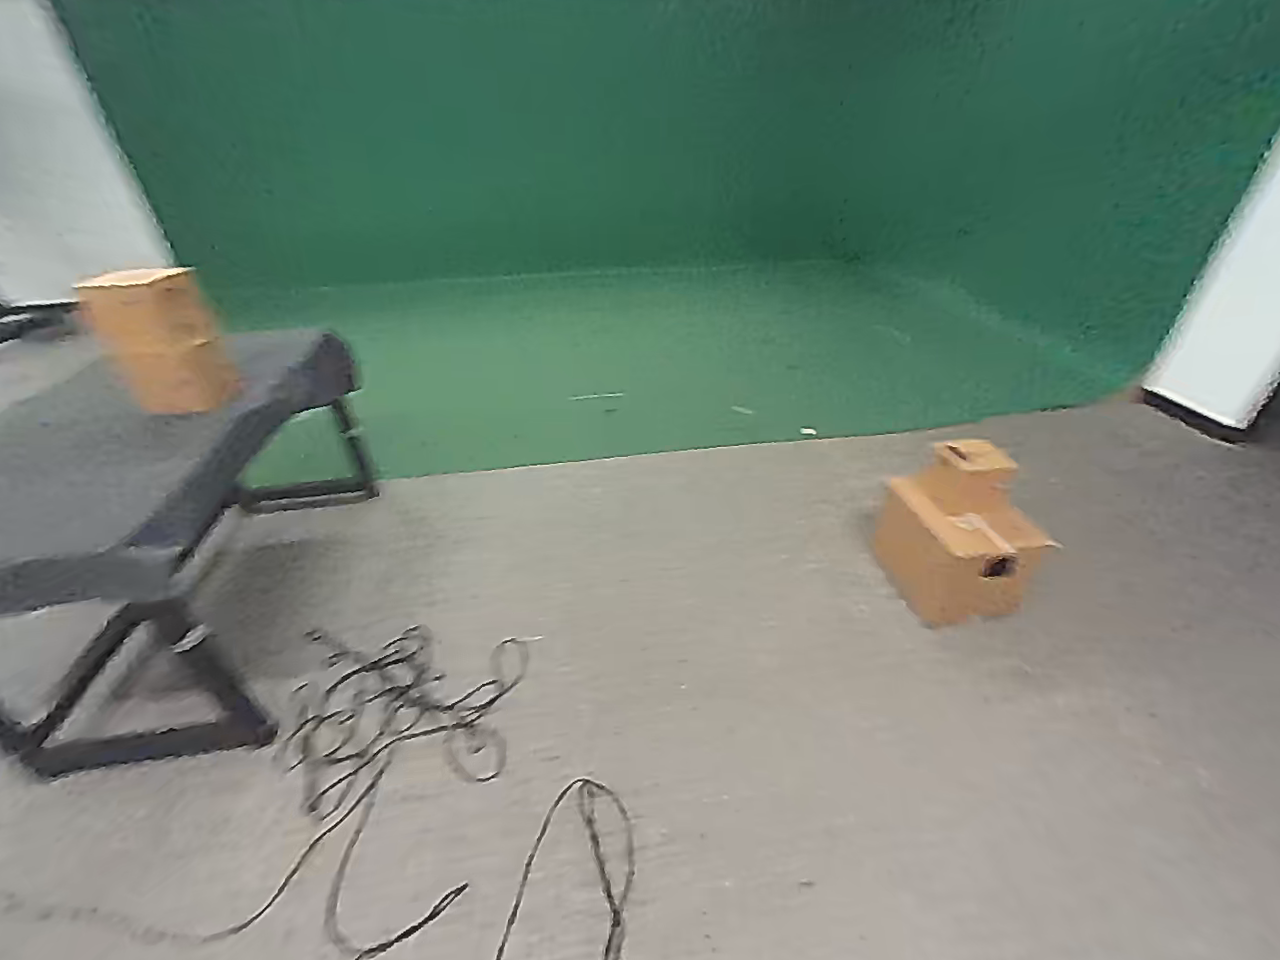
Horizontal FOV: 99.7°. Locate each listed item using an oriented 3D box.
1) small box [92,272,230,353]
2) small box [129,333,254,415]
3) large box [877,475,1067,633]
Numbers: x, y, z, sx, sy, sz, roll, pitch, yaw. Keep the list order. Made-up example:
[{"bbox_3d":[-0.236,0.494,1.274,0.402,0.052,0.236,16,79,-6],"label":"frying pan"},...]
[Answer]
[{"bbox_3d":[-1.239,-0.437,1.413,0.179,0.176,0.168,-1,34,2],"label":"small box"},{"bbox_3d":[-1.217,-0.292,1.489,0.179,0.176,0.168,-5,34,-2],"label":"small box"},{"bbox_3d":[1.049,0.232,1.778,0.320,0.320,0.408,-7,37,-5],"label":"large box"}]
